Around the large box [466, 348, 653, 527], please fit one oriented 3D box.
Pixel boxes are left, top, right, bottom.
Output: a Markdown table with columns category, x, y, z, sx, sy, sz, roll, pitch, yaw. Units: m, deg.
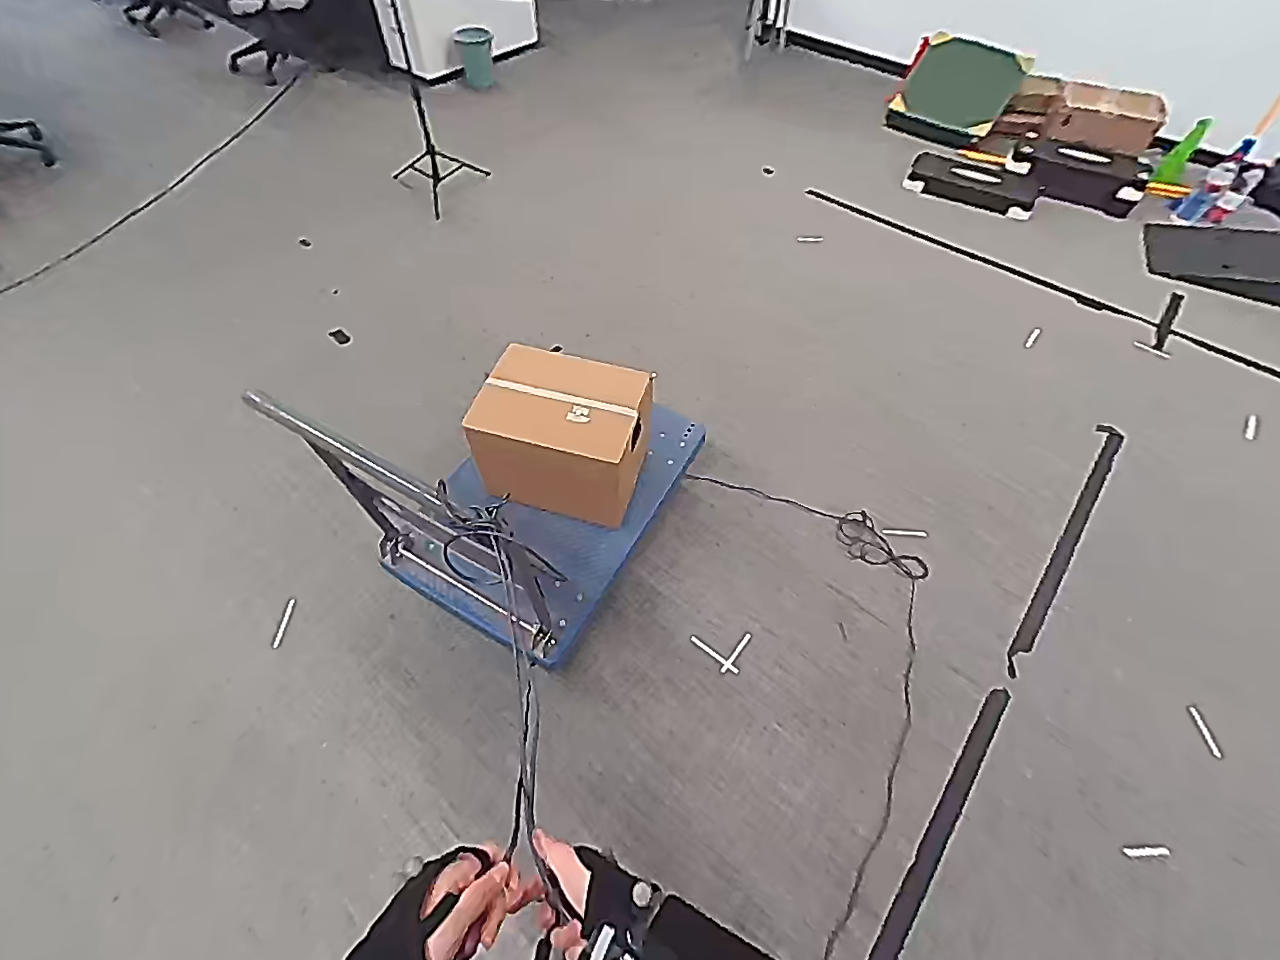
| category | x | y | z | sx | sy | sz | roll | pitch | yaw |
| --- | --- | --- | --- | --- | --- | --- | --- | --- | --- |
| large box | -0.202 | -0.113 | 1.487 | 0.408 | 0.320 | 0.320 | 14 | 56 | 7 |
